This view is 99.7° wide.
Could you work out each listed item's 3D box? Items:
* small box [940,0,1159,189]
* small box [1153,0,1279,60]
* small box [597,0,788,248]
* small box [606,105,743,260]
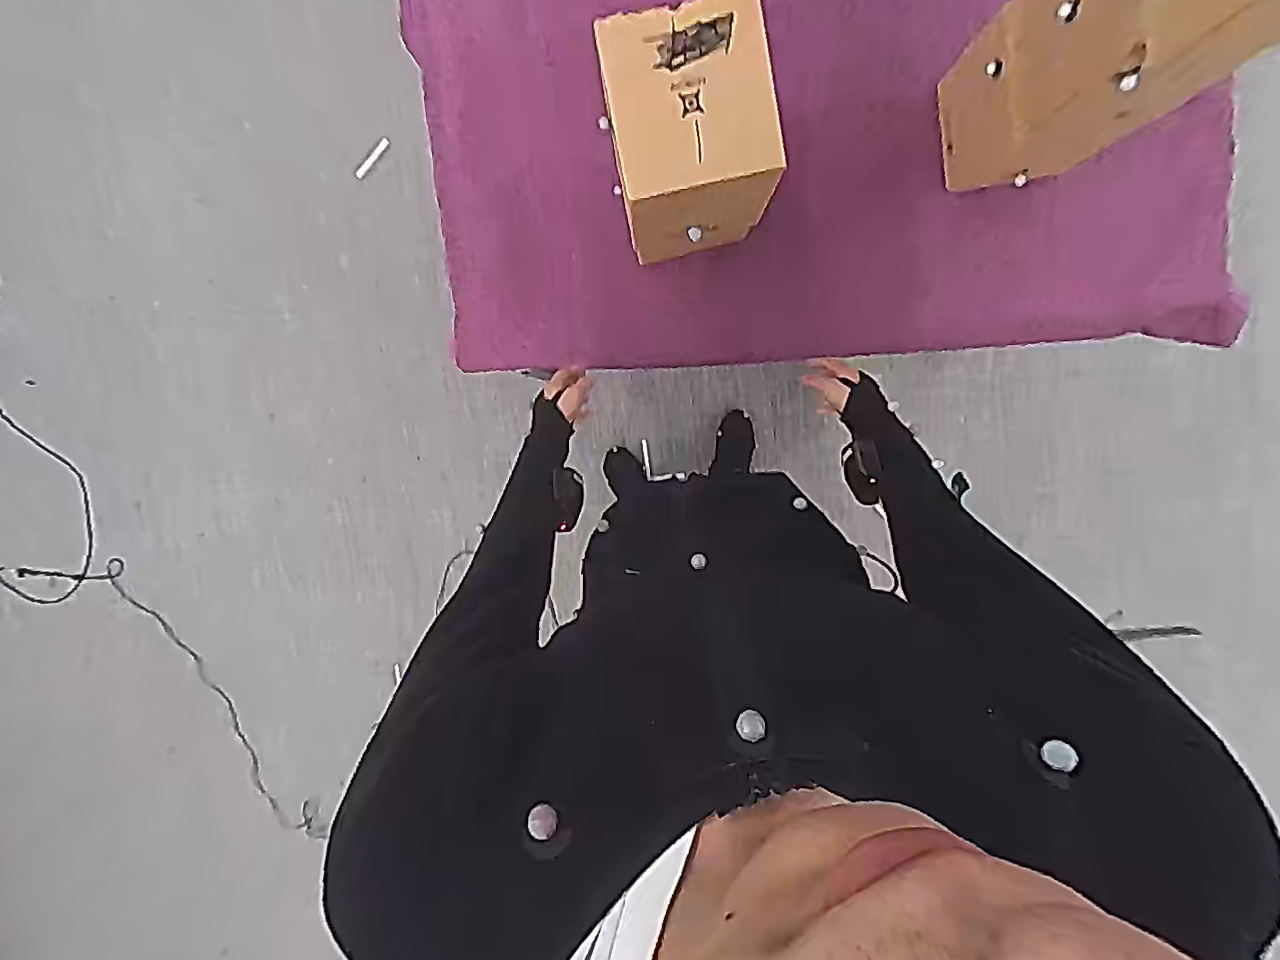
[{"bbox_3d":[0.547,-0.528,0.742,0.179,0.176,0.168,-8,96,2],"label":"small box"},{"bbox_3d":[0.549,-0.474,0.418,0.179,0.176,0.168,-11,96,3],"label":"small box"},{"bbox_3d":[0.053,-0.388,0.608,0.168,0.176,0.179,-11,97,3],"label":"small box"},{"bbox_3d":[0.061,-0.432,0.768,0.179,0.176,0.168,-13,96,3],"label":"small box"}]
